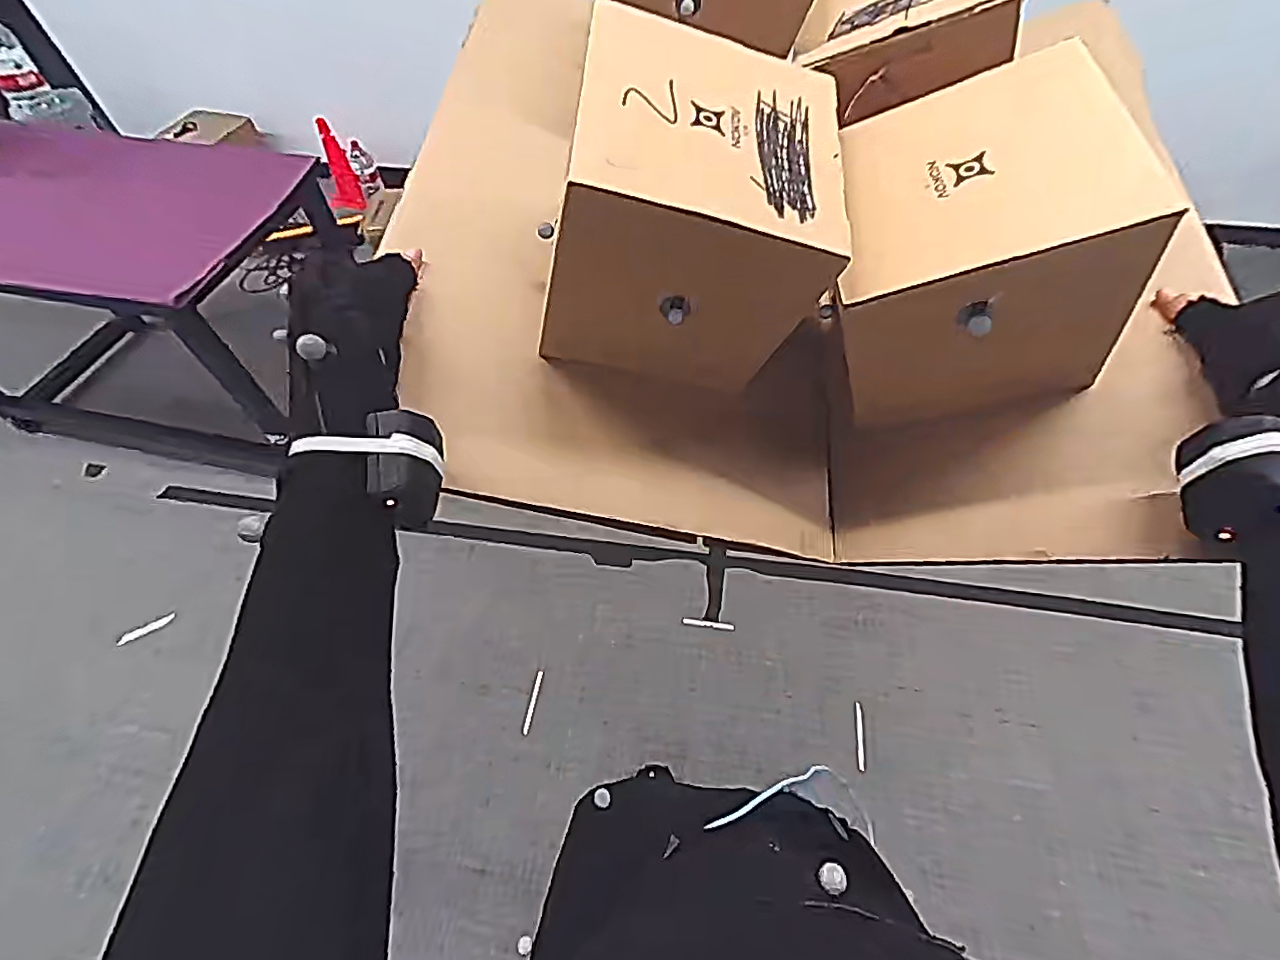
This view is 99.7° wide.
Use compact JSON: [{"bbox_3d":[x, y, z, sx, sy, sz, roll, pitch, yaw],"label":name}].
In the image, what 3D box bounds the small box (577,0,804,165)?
[{"bbox_3d":[0.045,-0.449,0.524,0.179,0.176,0.168,15,66,-10],"label":"small box"}]
